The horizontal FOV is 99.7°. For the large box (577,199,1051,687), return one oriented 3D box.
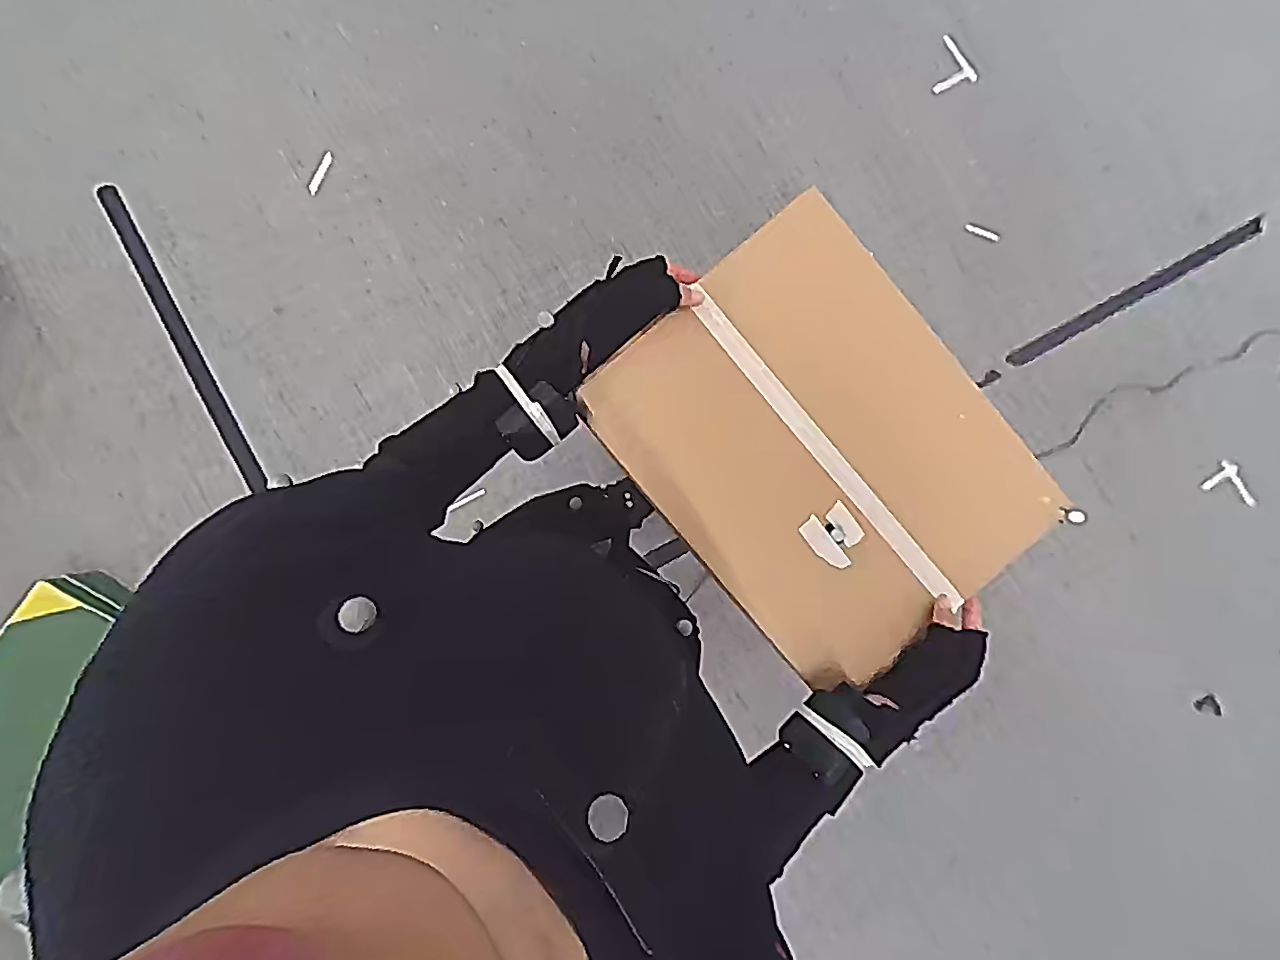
[{"bbox_3d":[0.170,-0.039,0.686,0.320,0.320,0.408,-41,93,0],"label":"large box"}]
